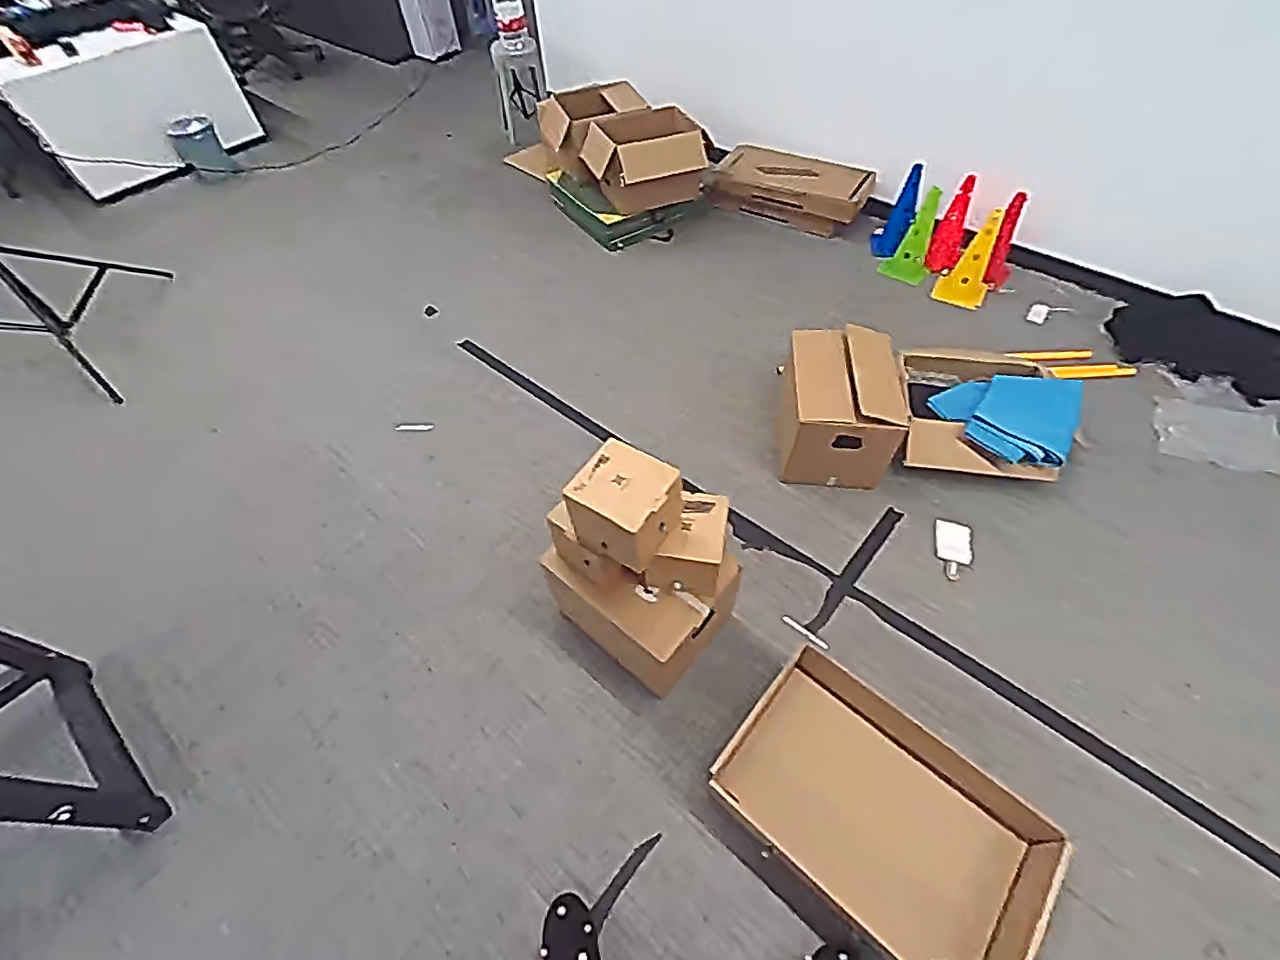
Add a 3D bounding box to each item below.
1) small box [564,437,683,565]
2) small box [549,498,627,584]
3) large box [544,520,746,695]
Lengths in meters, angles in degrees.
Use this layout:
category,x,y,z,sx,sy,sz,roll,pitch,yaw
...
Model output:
category,x,y,z,sx,sy,sz,roll,pitch,yaw
small box,-0.026,0.051,1.106,0.179,0.176,0.168,28,61,21
small box,-0.086,0.113,1.267,0.168,0.176,0.179,34,61,21
large box,0.012,0.288,1.435,0.408,0.320,0.320,33,63,23
